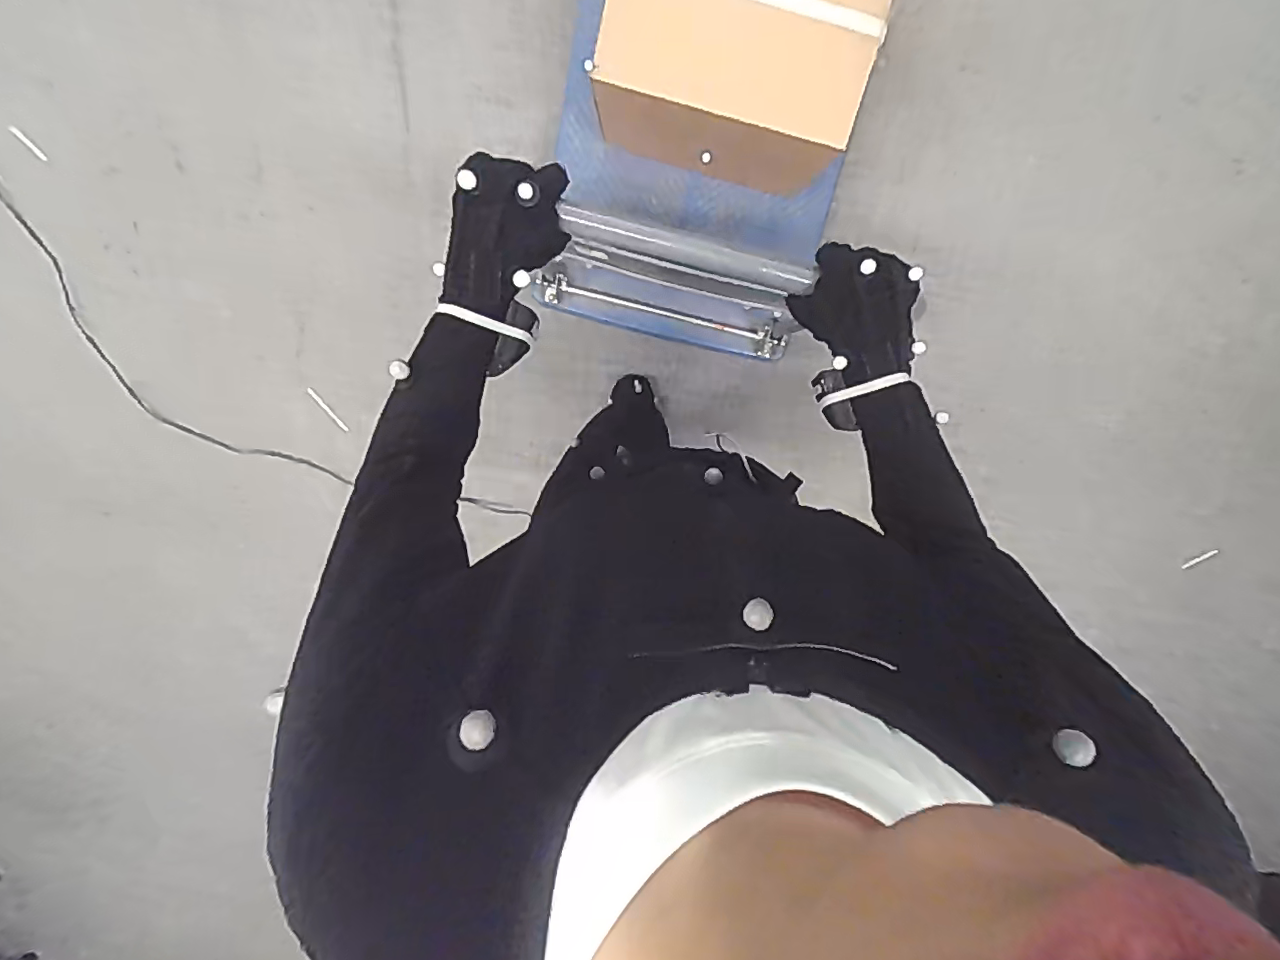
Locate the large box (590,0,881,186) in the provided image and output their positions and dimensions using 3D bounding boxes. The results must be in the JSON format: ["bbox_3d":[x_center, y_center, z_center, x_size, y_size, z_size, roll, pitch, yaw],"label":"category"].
[{"bbox_3d":[0.157,-0.751,0.930,0.408,0.320,0.320,14,104,-2],"label":"large box"}]
